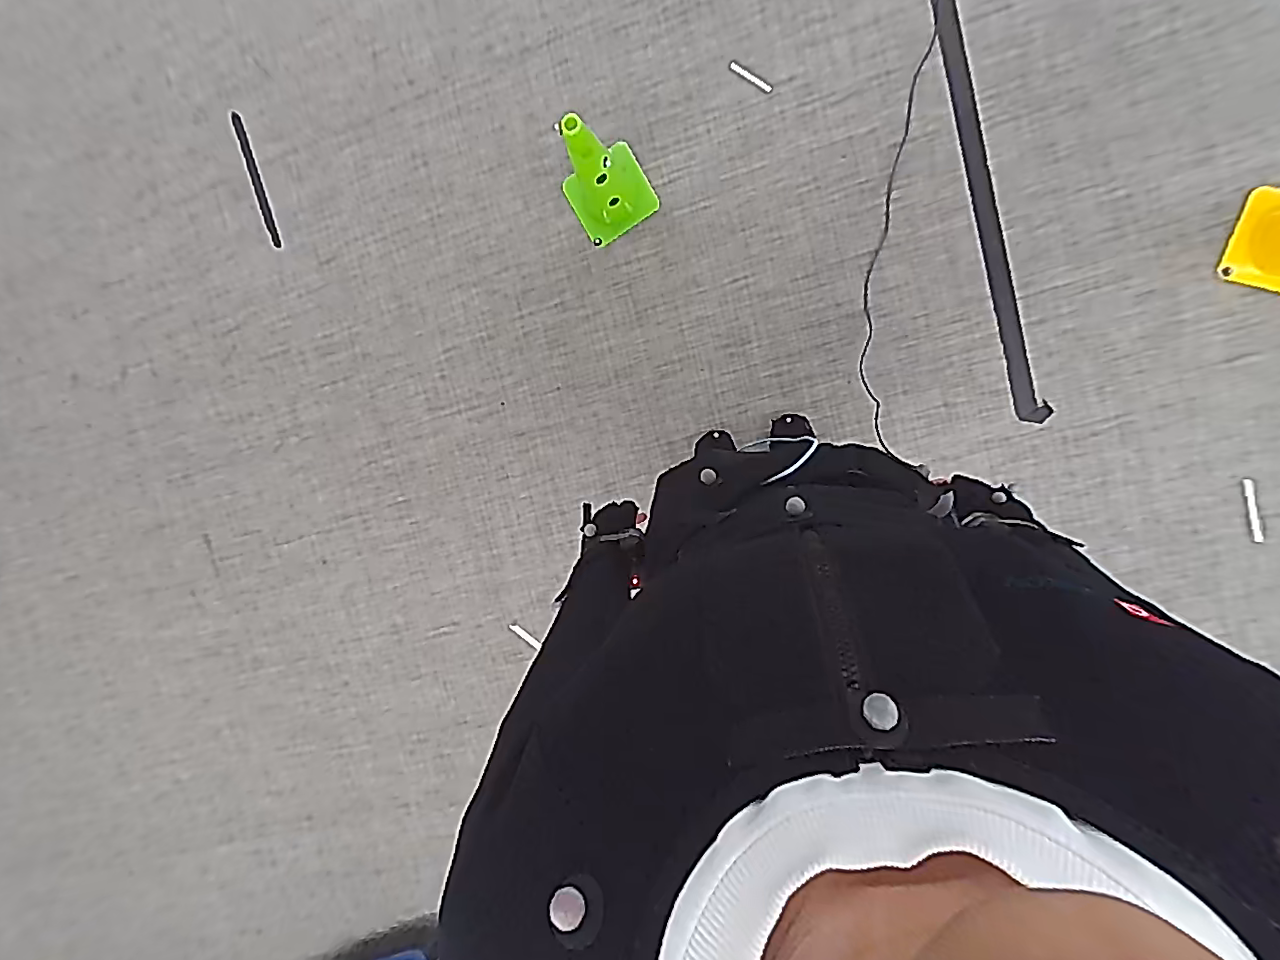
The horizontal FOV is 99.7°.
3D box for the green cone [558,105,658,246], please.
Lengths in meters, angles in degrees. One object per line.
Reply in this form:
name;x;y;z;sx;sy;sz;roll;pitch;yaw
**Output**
green cone;-0.105;-0.720;1.225;0.200;0.368;0.202;-30;89;11
